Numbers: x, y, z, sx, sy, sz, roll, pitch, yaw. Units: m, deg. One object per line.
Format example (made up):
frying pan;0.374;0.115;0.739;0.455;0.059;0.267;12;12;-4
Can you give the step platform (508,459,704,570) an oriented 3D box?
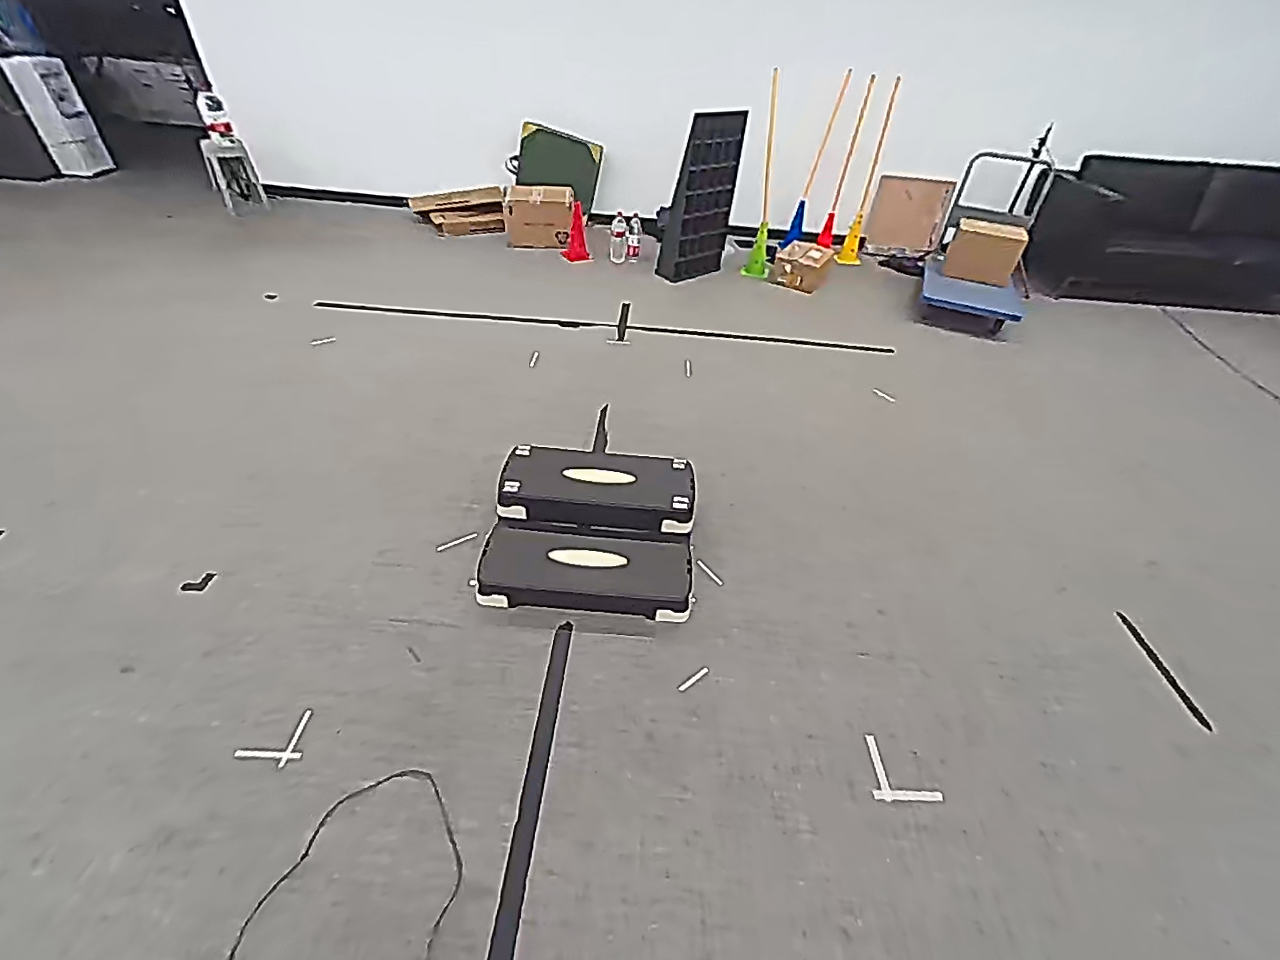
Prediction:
step platform;-0.114;0.116;1.923;0.684;0.204;0.286;8;40;3
